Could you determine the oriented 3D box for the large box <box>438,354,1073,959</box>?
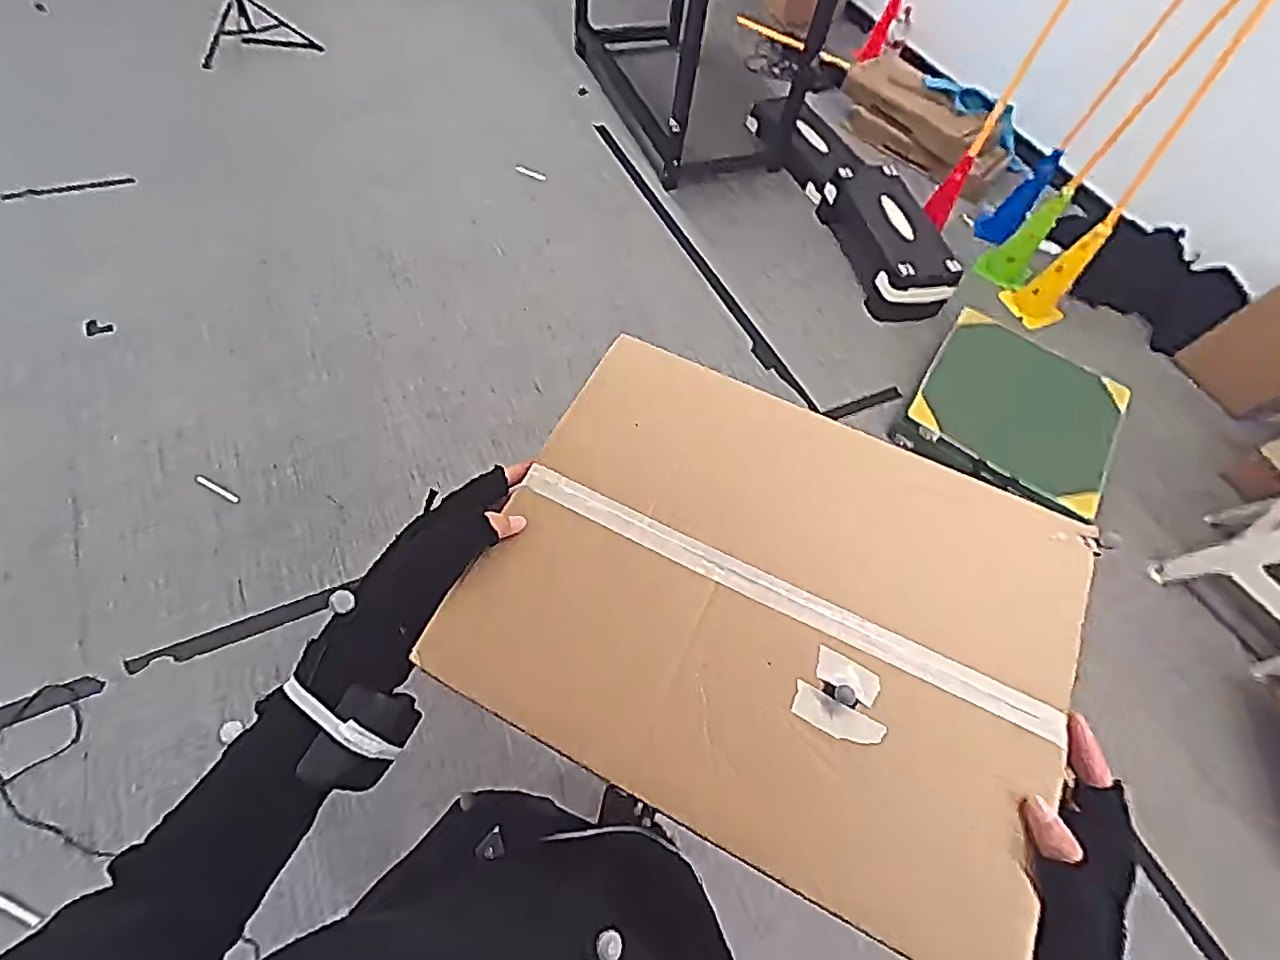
[{"bbox_3d":[0.095,0.146,0.538,0.408,0.320,0.320,25,68,11],"label":"large box"}]
